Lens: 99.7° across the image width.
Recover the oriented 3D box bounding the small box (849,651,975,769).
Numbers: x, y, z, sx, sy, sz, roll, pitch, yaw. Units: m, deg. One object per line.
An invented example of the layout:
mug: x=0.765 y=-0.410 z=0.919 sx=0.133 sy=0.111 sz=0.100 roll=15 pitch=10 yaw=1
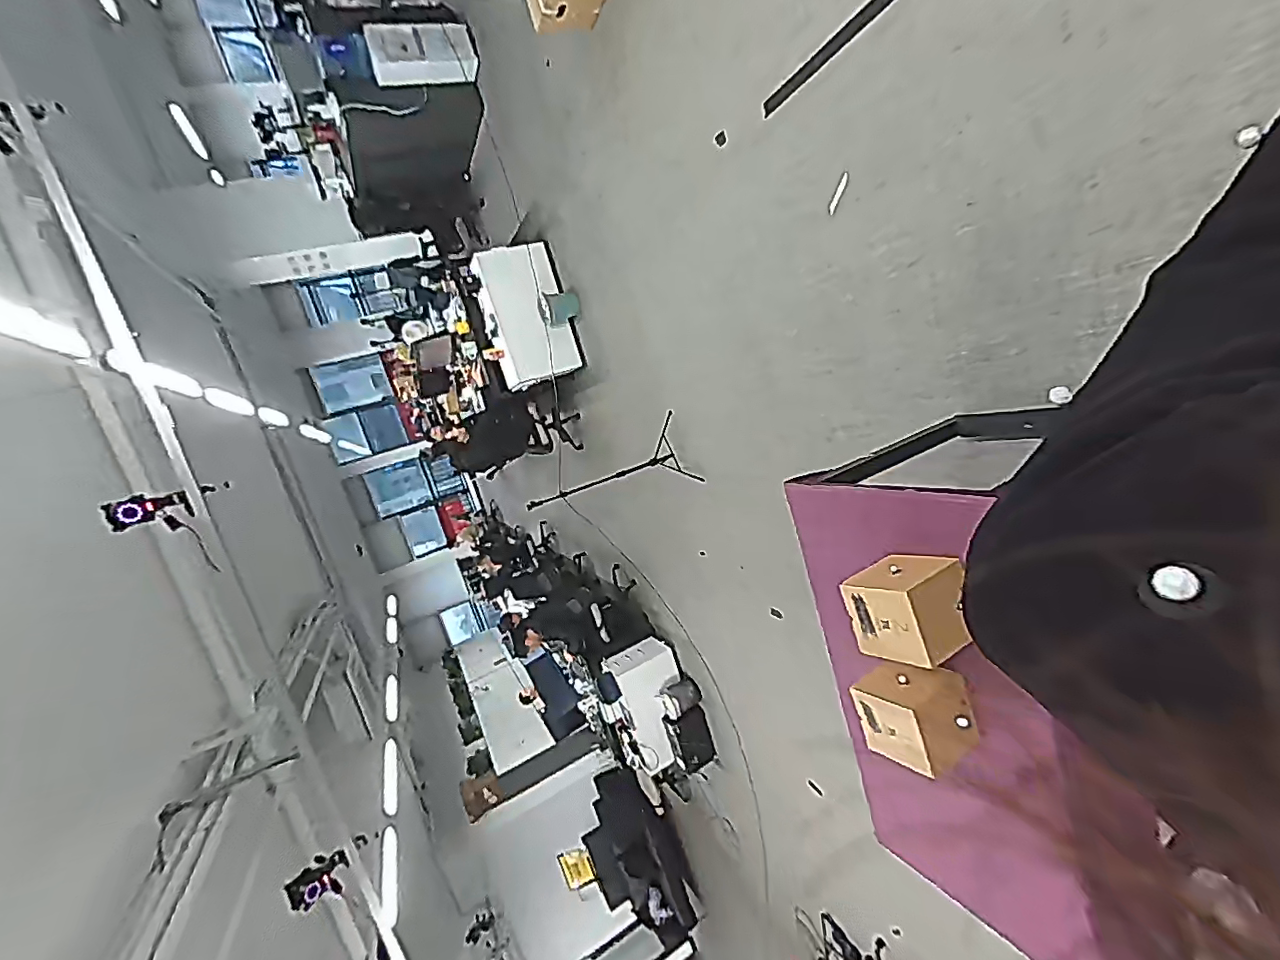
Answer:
small box: x=0.628 y=0.518 z=1.251 sx=0.179 sy=0.176 sz=0.168 roll=-7 pitch=103 yaw=66
